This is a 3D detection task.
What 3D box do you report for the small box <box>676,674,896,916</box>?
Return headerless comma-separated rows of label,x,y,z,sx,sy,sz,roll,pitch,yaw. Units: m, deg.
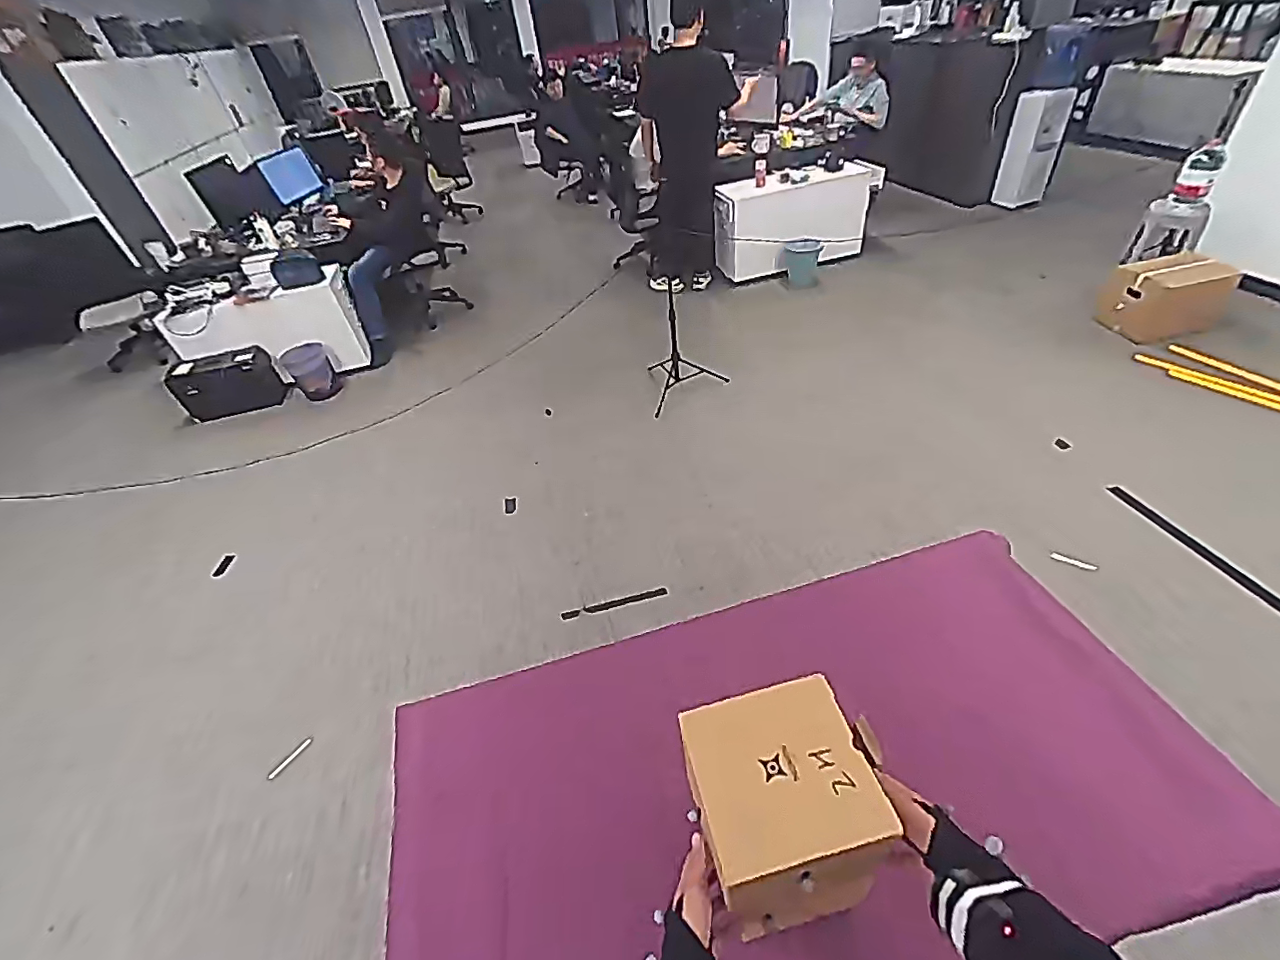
small box,0.151,0.353,0.605,0.179,0.176,0.168,-13,41,-5
